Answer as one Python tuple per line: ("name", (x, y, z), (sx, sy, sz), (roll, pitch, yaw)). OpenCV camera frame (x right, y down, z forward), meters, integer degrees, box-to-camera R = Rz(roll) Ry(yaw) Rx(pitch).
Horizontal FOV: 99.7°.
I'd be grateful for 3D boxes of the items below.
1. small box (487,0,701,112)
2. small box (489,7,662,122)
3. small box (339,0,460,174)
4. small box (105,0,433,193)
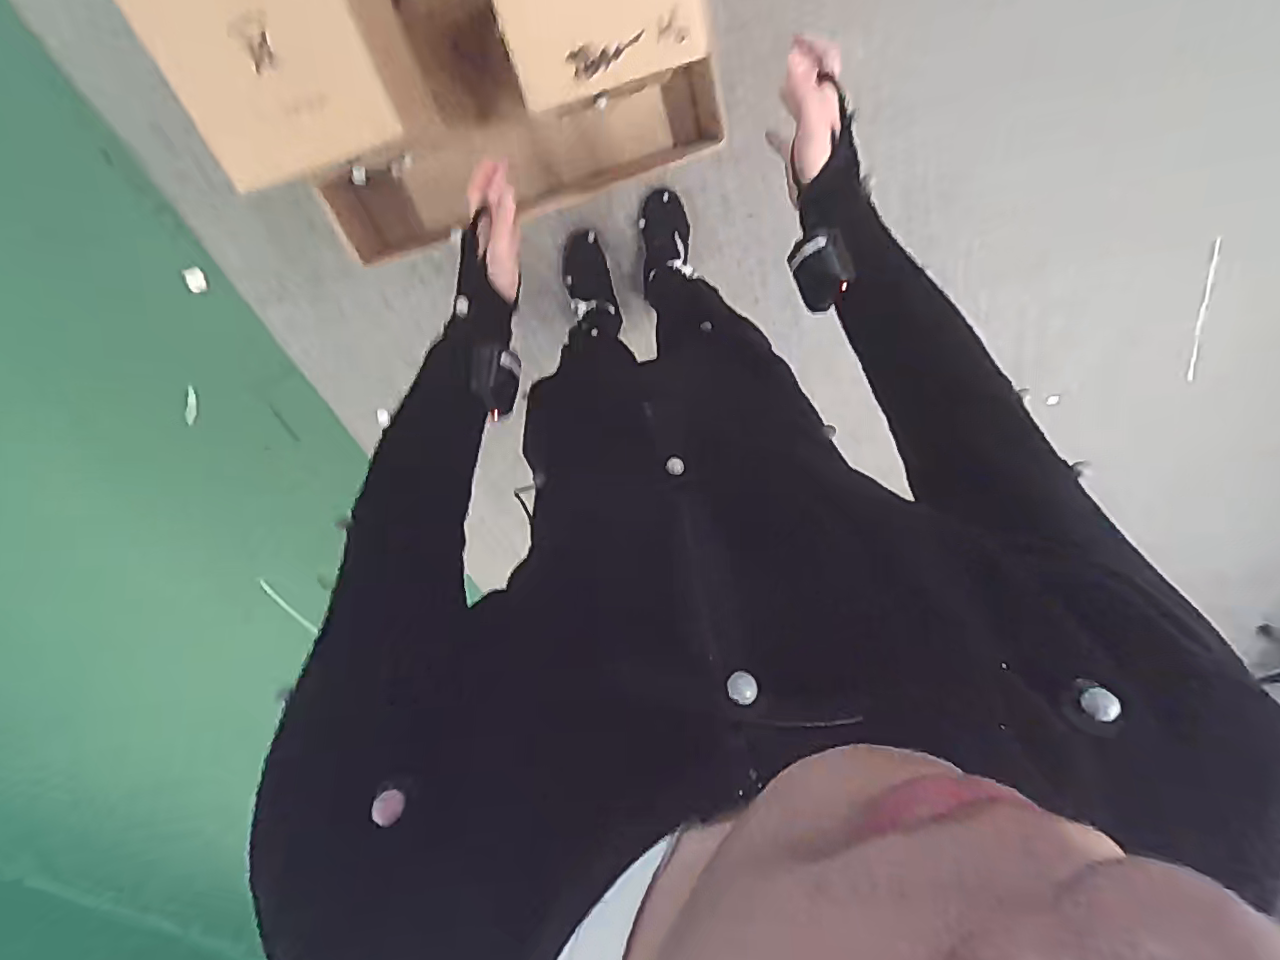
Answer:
("small box", (-0.055, -0.455, 0.484), (0.168, 0.176, 0.179), (-16, 123, 4))
("small box", (-0.079, -0.538, 0.624), (0.168, 0.176, 0.179), (-16, 123, 4))
("small box", (-0.336, -0.476, 0.634), (0.168, 0.176, 0.179), (-17, 123, 6))
("small box", (-0.319, -0.388, 0.498), (0.168, 0.176, 0.179), (-16, 123, 5))
